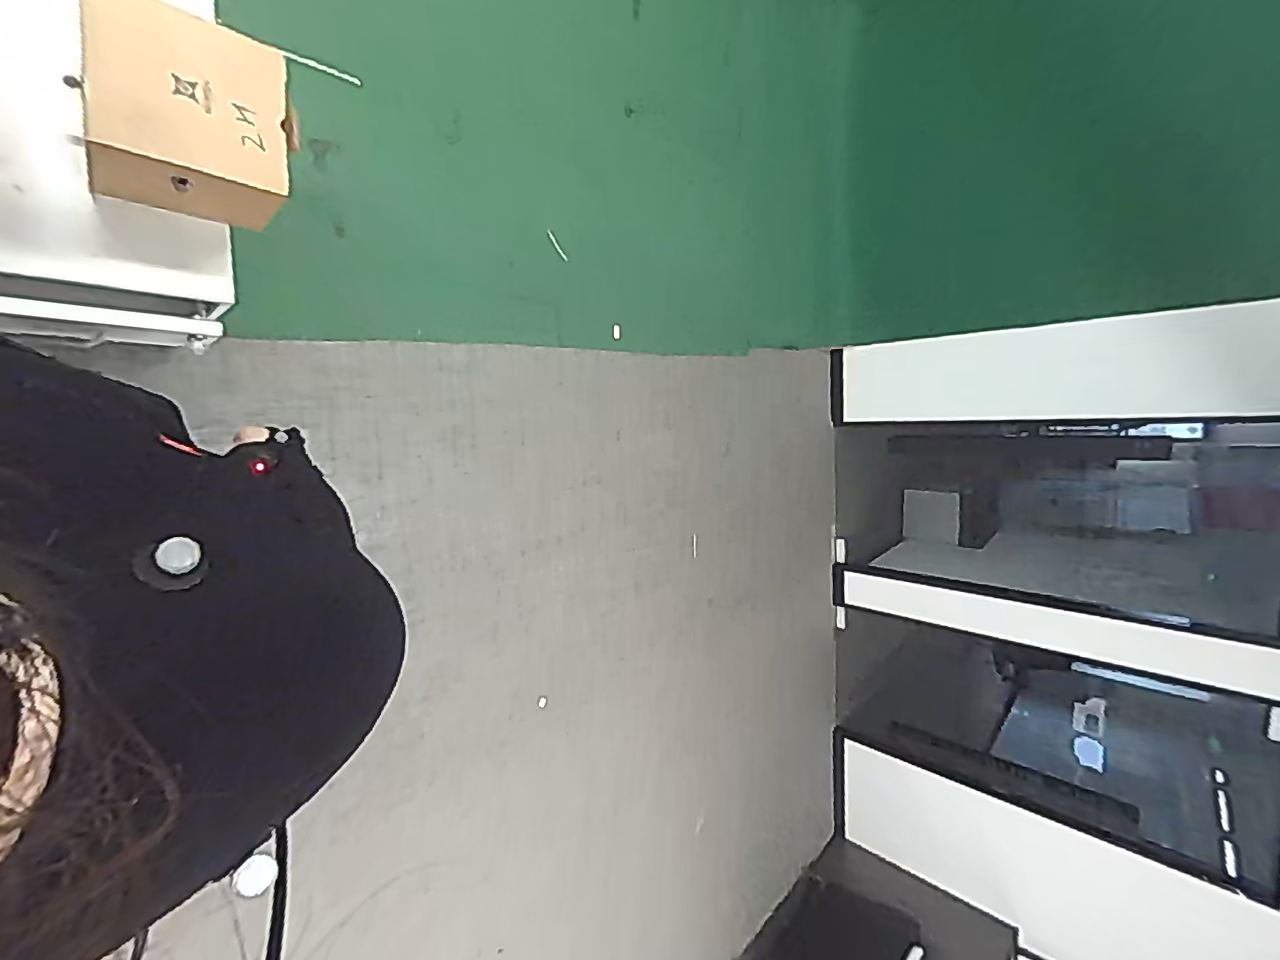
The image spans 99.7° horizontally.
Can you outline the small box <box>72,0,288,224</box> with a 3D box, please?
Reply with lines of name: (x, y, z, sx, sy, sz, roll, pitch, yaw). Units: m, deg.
small box: (-0.534, -0.423, 0.634, 0.179, 0.176, 0.168, -3, 97, -45)
